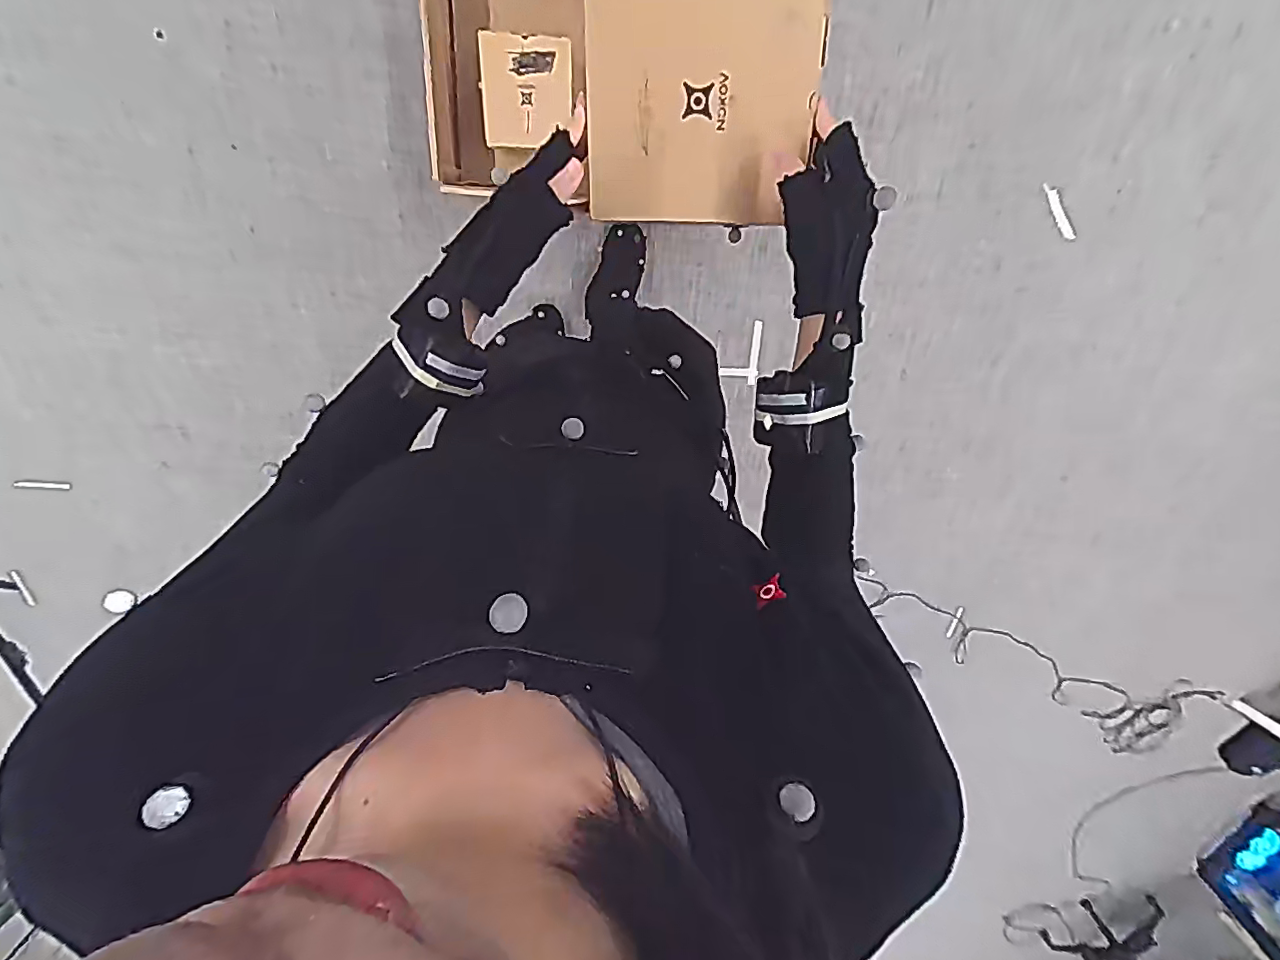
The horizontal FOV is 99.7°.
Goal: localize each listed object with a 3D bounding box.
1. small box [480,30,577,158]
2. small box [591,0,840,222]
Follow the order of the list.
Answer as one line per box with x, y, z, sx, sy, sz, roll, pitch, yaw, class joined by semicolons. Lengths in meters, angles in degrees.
-0.212;-0.746;1.063;0.168;0.176;0.179;1;118;-4;small box
0.051;-0.318;0.469;0.179;0.176;0.168;1;115;0;small box
